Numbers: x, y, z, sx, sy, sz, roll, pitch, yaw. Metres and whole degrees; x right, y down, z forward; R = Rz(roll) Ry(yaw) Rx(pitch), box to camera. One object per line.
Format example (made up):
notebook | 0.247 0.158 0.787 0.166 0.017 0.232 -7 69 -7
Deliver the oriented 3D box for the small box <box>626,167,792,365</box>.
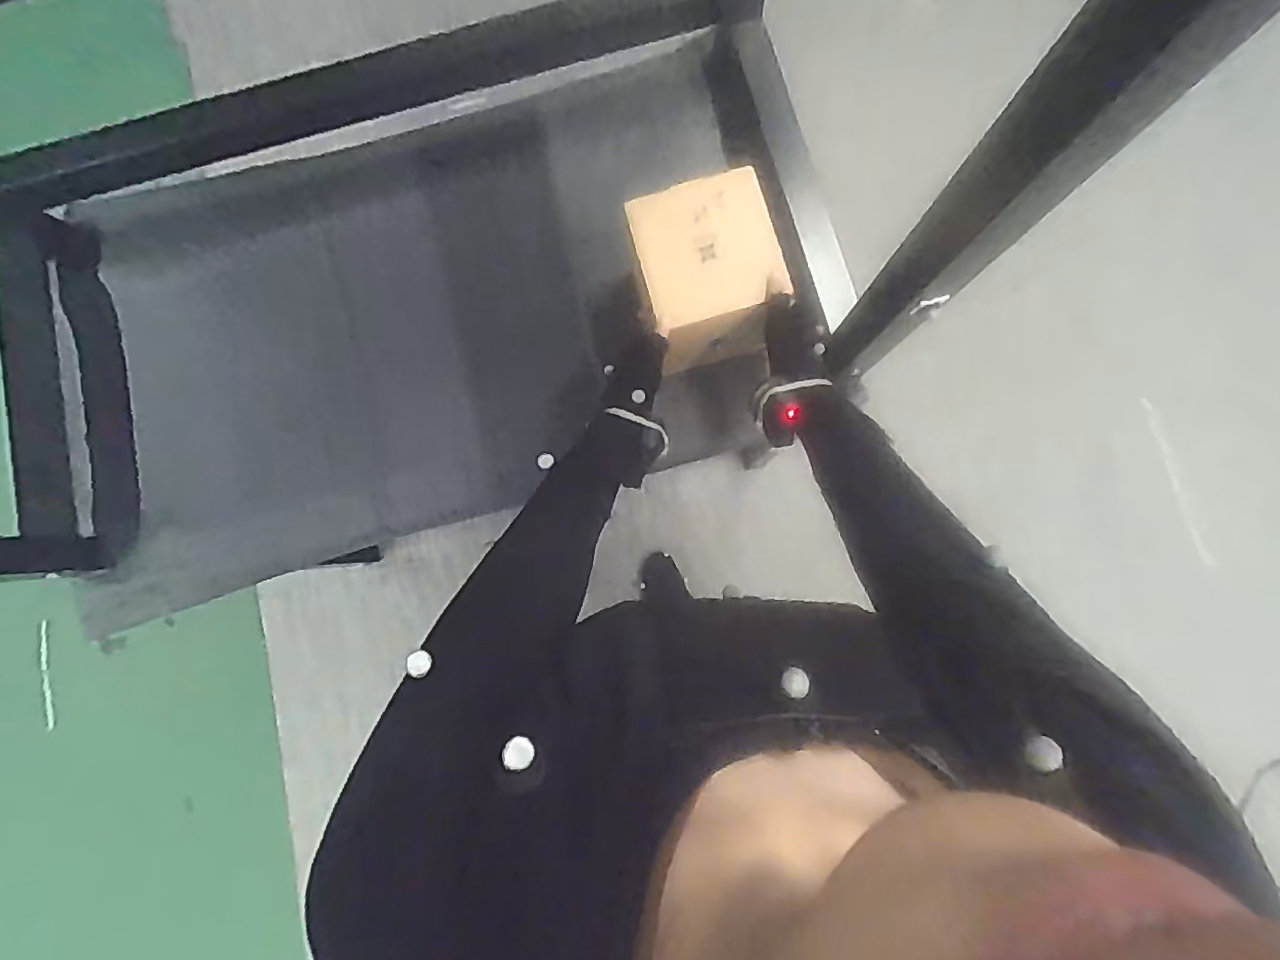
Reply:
small box | 0.087 -0.269 0.728 0.168 0.176 0.179 -16 82 1
